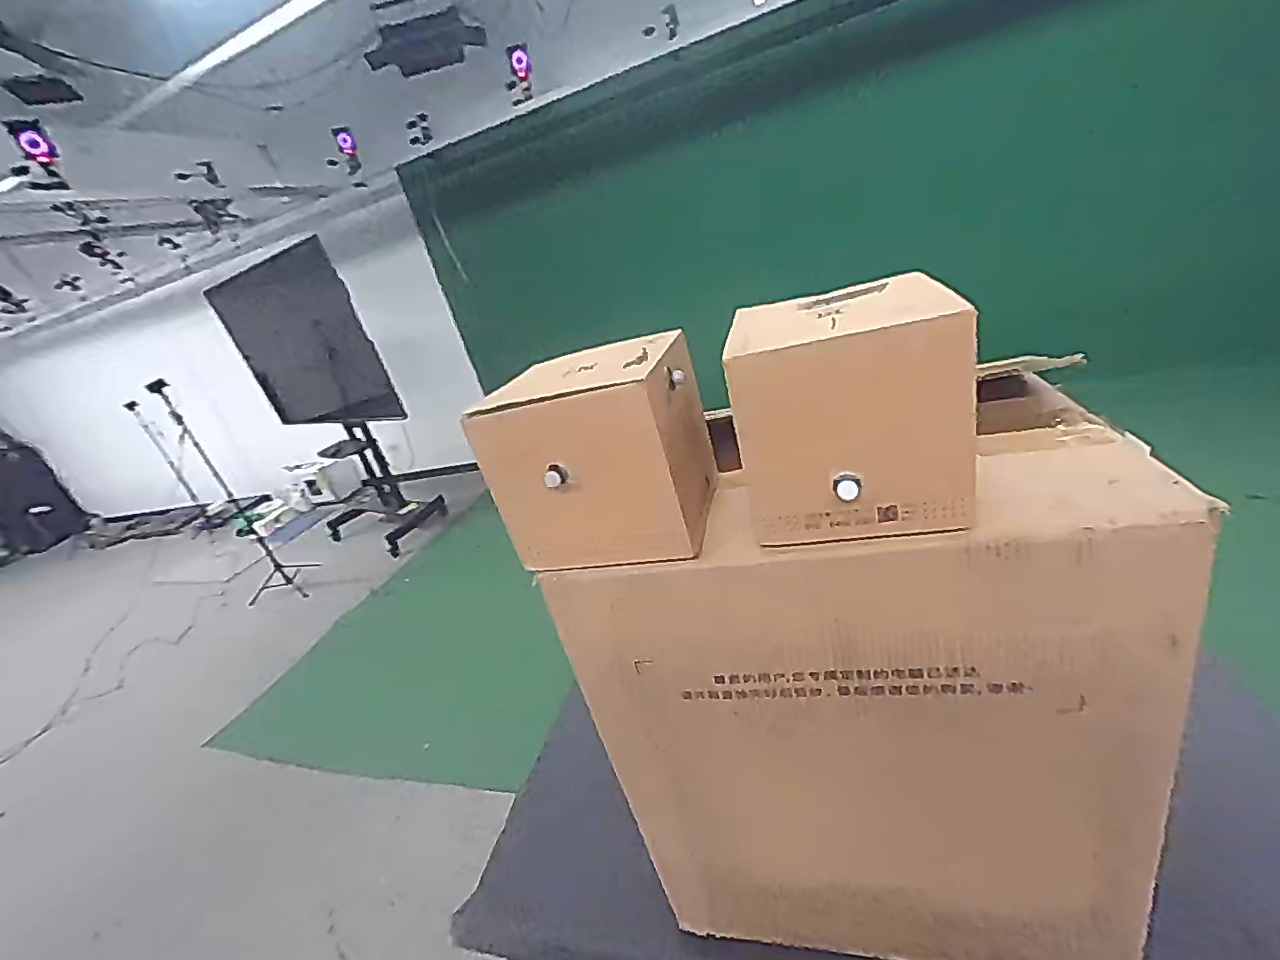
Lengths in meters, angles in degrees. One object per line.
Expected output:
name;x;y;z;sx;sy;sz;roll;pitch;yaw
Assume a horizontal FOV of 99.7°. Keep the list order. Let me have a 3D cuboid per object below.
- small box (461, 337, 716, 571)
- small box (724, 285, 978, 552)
small box;-0.035;-0.024;0.534;0.179;0.176;0.168;-8;26;19
small box;0.175;-0.056;0.472;0.168;0.176;0.179;-6;27;18
